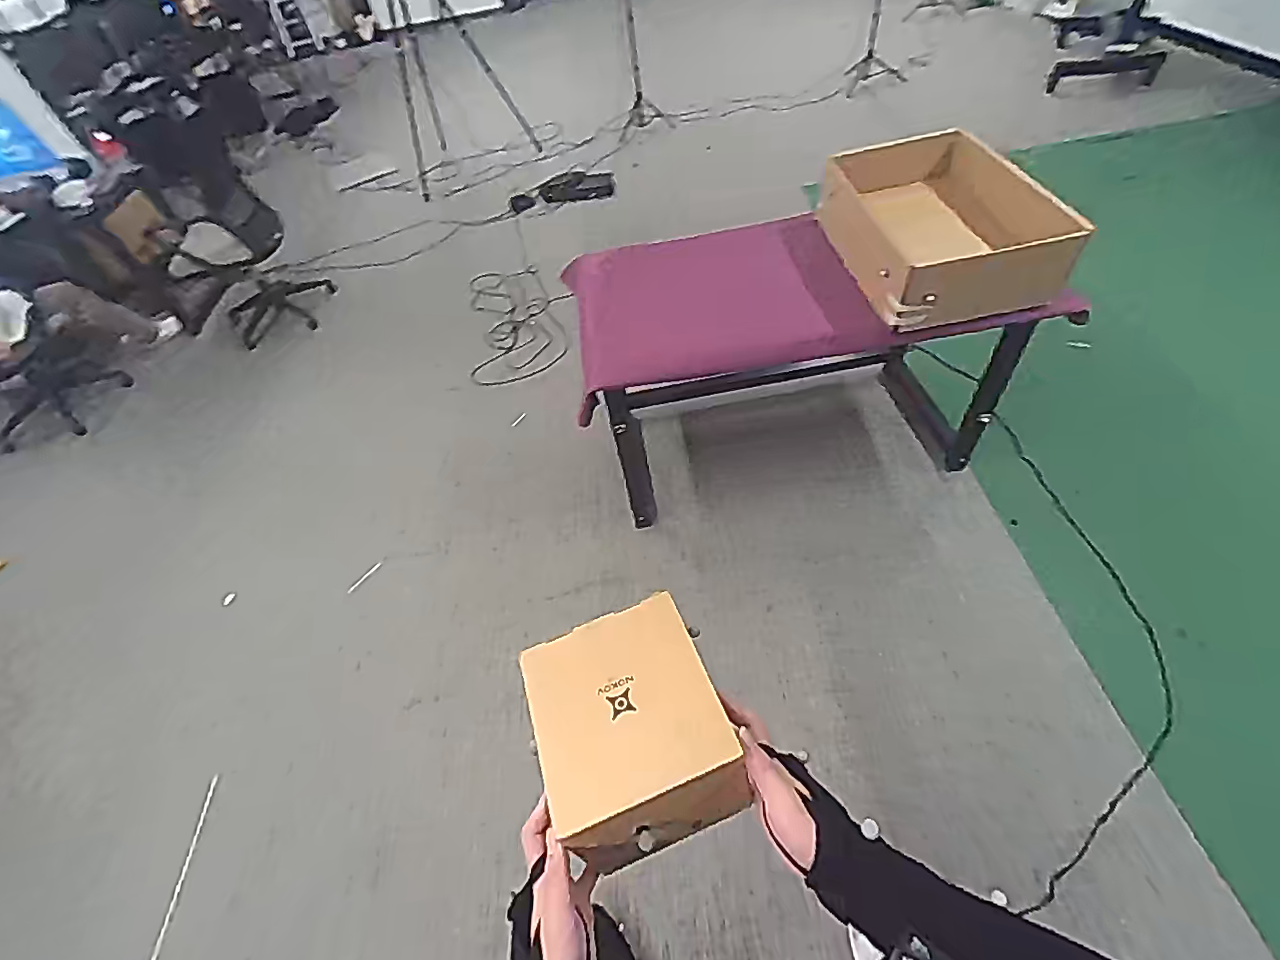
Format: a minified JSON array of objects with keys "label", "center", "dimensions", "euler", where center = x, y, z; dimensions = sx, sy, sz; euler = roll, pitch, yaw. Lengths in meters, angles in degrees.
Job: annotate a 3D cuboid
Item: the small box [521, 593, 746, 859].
[{"label":"small box","center":[-0.003,0.253,0.548],"dimensions":[0.168,0.176,0.179],"euler":[-21,45,-5]}]
